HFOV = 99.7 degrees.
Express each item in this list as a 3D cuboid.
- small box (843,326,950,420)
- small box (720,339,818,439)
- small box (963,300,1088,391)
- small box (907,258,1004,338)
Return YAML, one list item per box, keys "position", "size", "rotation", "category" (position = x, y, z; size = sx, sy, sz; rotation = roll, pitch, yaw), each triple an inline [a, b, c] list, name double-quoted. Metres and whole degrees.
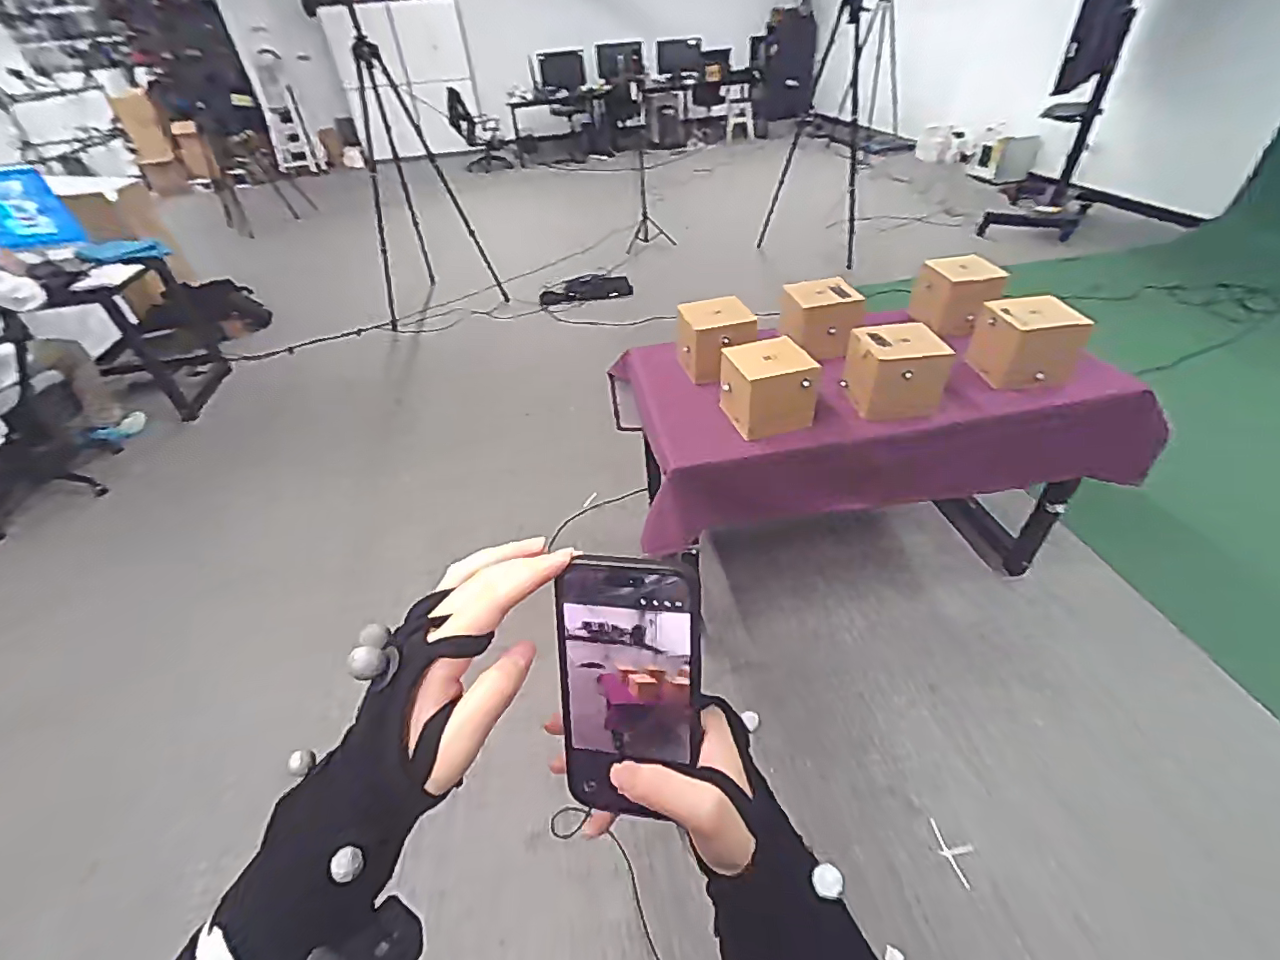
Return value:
- position: [0.613, -0.260, 1.322]
  size: [0.179, 0.176, 0.168]
  rotation: [-5, 41, -1]
  category: "small box"
- position: [0.303, -0.217, 1.306]
  size: [0.179, 0.176, 0.168]
  rotation: [-12, 41, -10]
  category: "small box"
- position: [0.970, -0.341, 1.380]
  size: [0.179, 0.176, 0.168]
  rotation: [-5, 40, 0]
  category: "small box"
- position: [0.932, -0.543, 1.617]
  size: [0.168, 0.176, 0.179]
  rotation: [-8, 41, -2]
  category: "small box"
